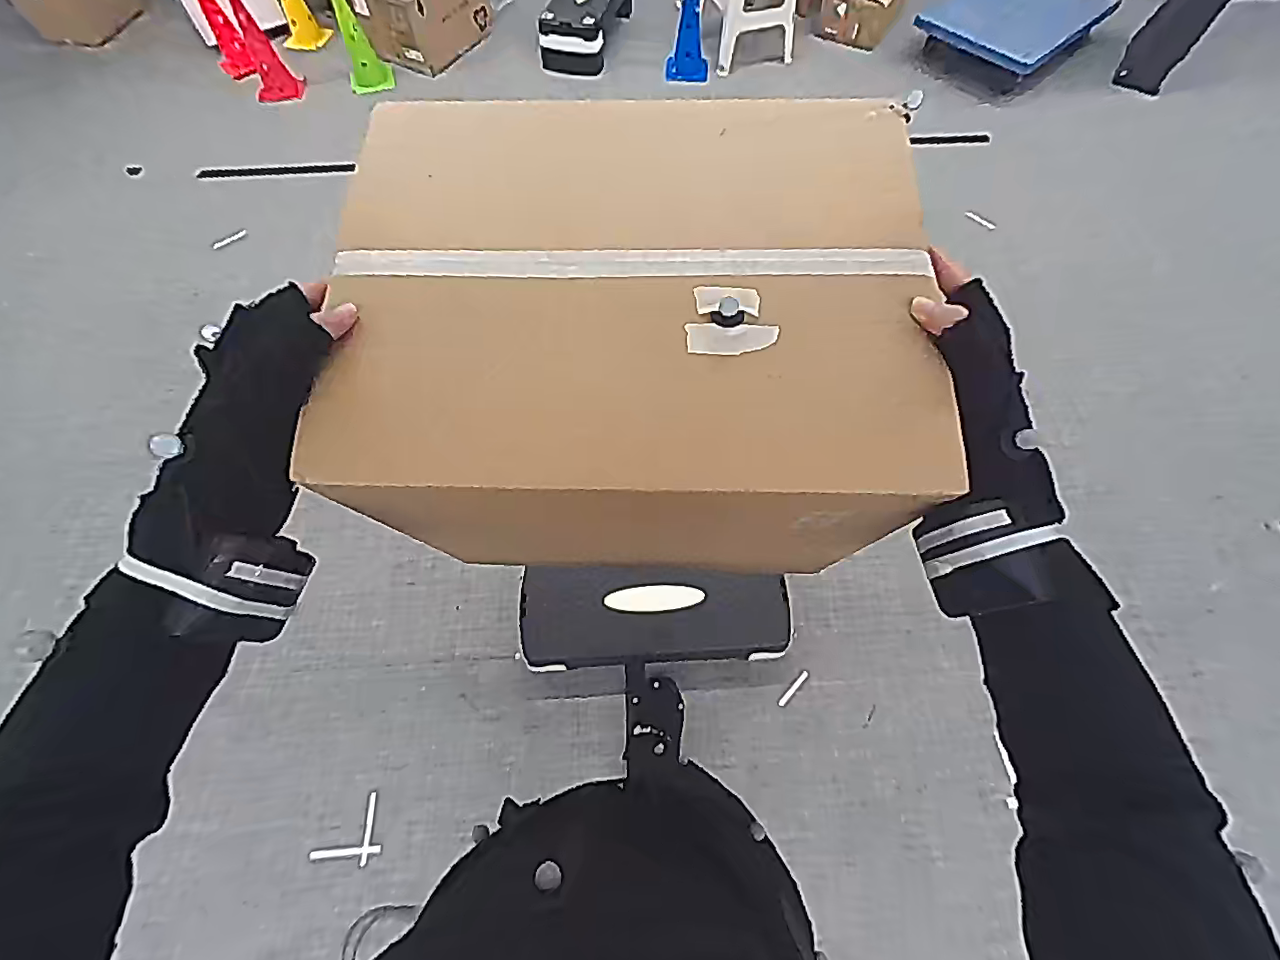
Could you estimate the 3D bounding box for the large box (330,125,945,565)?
[{"bbox_3d":[0.000,-0.095,0.532,0.408,0.320,0.320,1,72,2],"label":"large box"}]
